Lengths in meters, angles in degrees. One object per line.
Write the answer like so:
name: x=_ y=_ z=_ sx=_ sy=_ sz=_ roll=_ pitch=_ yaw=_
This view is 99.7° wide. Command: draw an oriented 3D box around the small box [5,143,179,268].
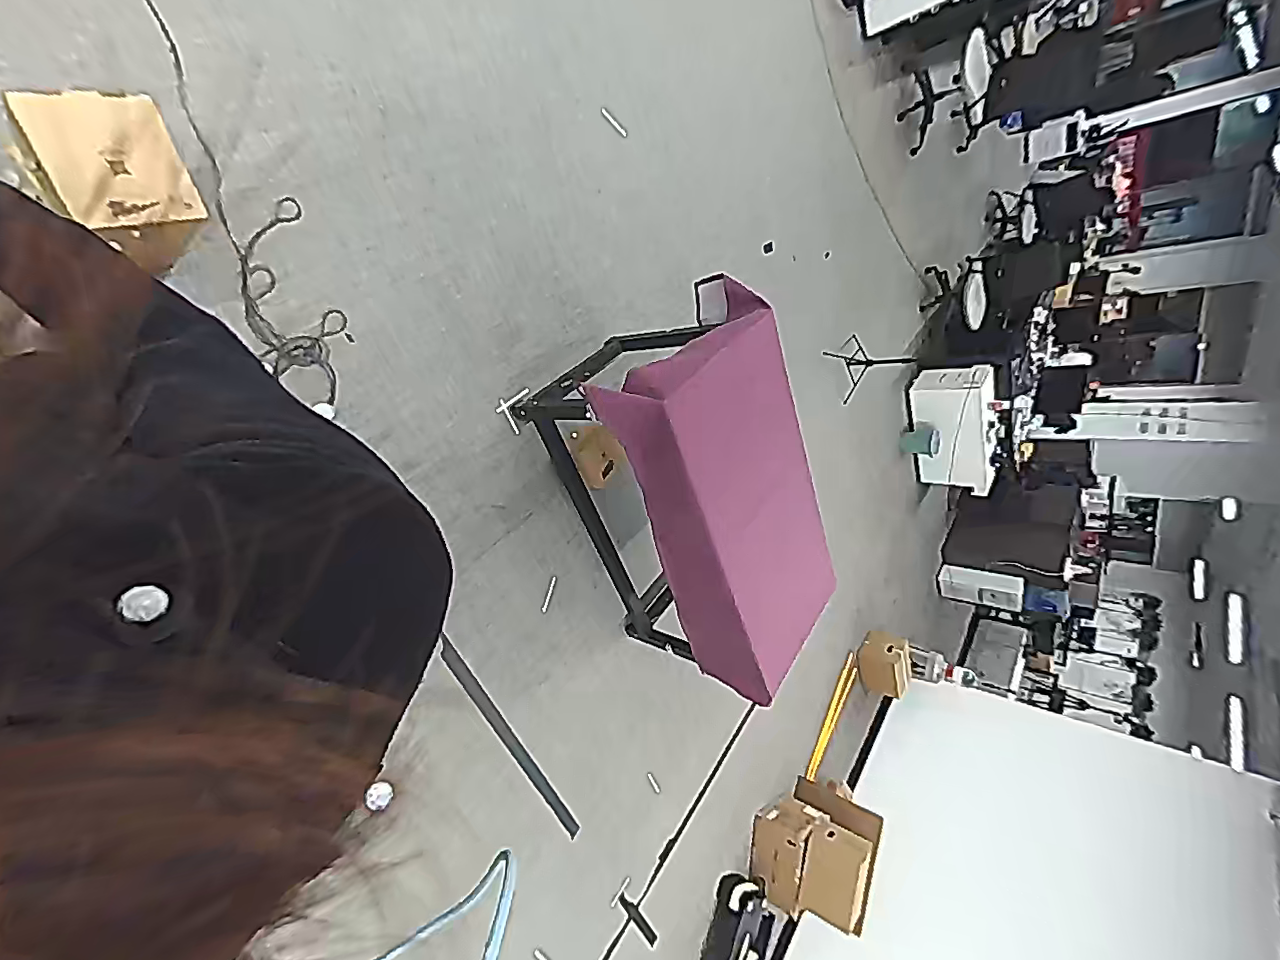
small box: x=-0.954 y=-0.497 z=0.968 sx=0.179 sy=0.176 sz=0.168 roll=-41 pitch=122 yaw=-36

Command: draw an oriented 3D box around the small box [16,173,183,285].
small box: x=-1.072 y=-0.511 z=1.078 sx=0.168 sy=0.176 sz=0.179 roll=-42 pitch=124 yaw=-35

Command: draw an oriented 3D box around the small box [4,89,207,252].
small box: x=-0.836 y=-0.479 z=0.855 sx=0.168 sy=0.176 sz=0.179 roll=-33 pitch=117 yaw=-39
